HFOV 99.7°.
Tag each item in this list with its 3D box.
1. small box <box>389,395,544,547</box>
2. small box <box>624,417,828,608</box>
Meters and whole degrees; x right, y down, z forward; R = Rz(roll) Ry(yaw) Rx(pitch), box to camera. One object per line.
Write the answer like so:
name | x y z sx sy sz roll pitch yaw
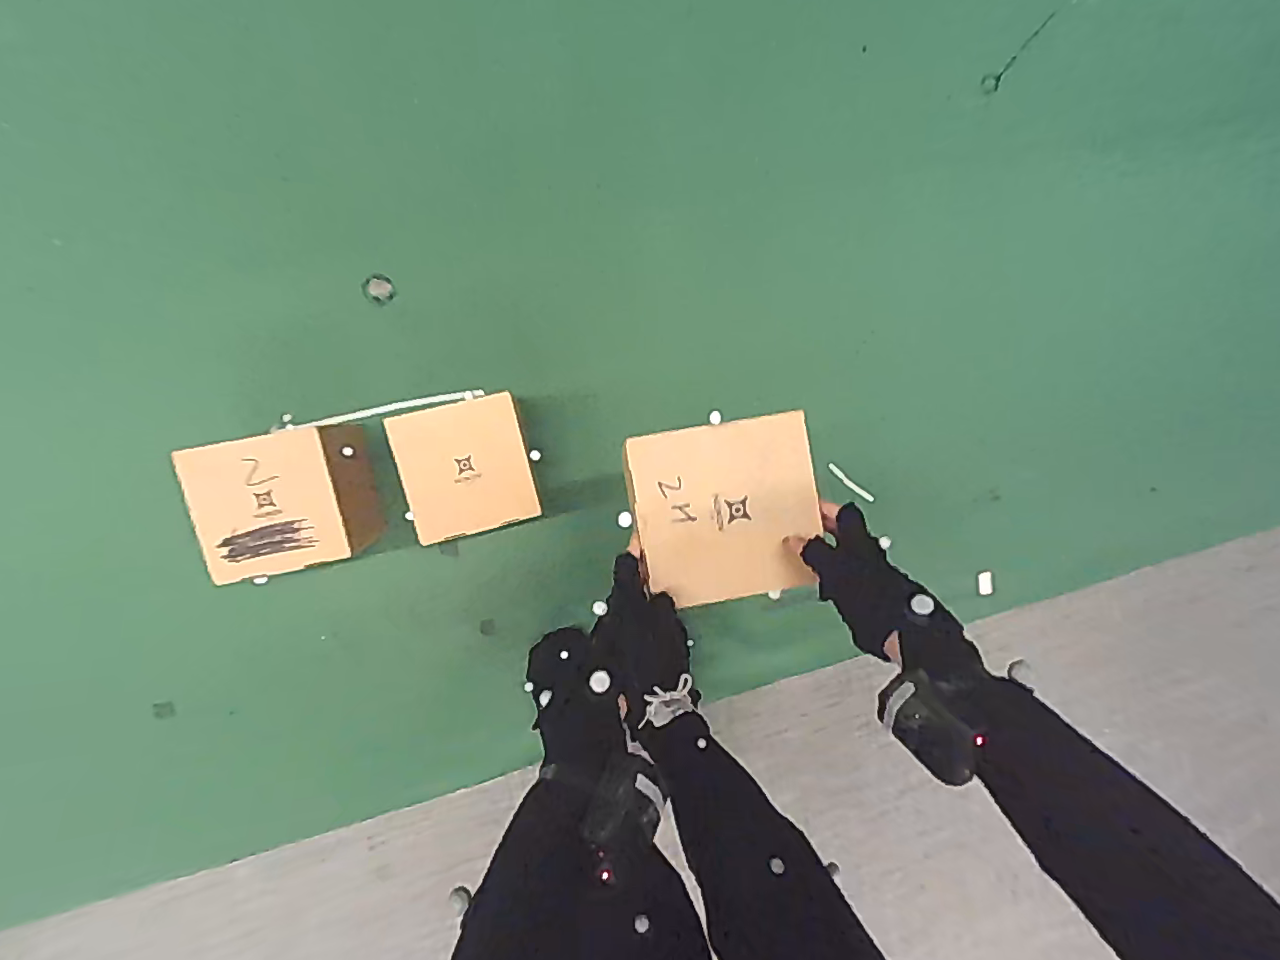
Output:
small box | -0.244 -0.021 0.793 0.168 0.176 0.179 -14 100 -9
small box | 0.080 0.031 0.595 0.179 0.176 0.168 -9 89 -3
